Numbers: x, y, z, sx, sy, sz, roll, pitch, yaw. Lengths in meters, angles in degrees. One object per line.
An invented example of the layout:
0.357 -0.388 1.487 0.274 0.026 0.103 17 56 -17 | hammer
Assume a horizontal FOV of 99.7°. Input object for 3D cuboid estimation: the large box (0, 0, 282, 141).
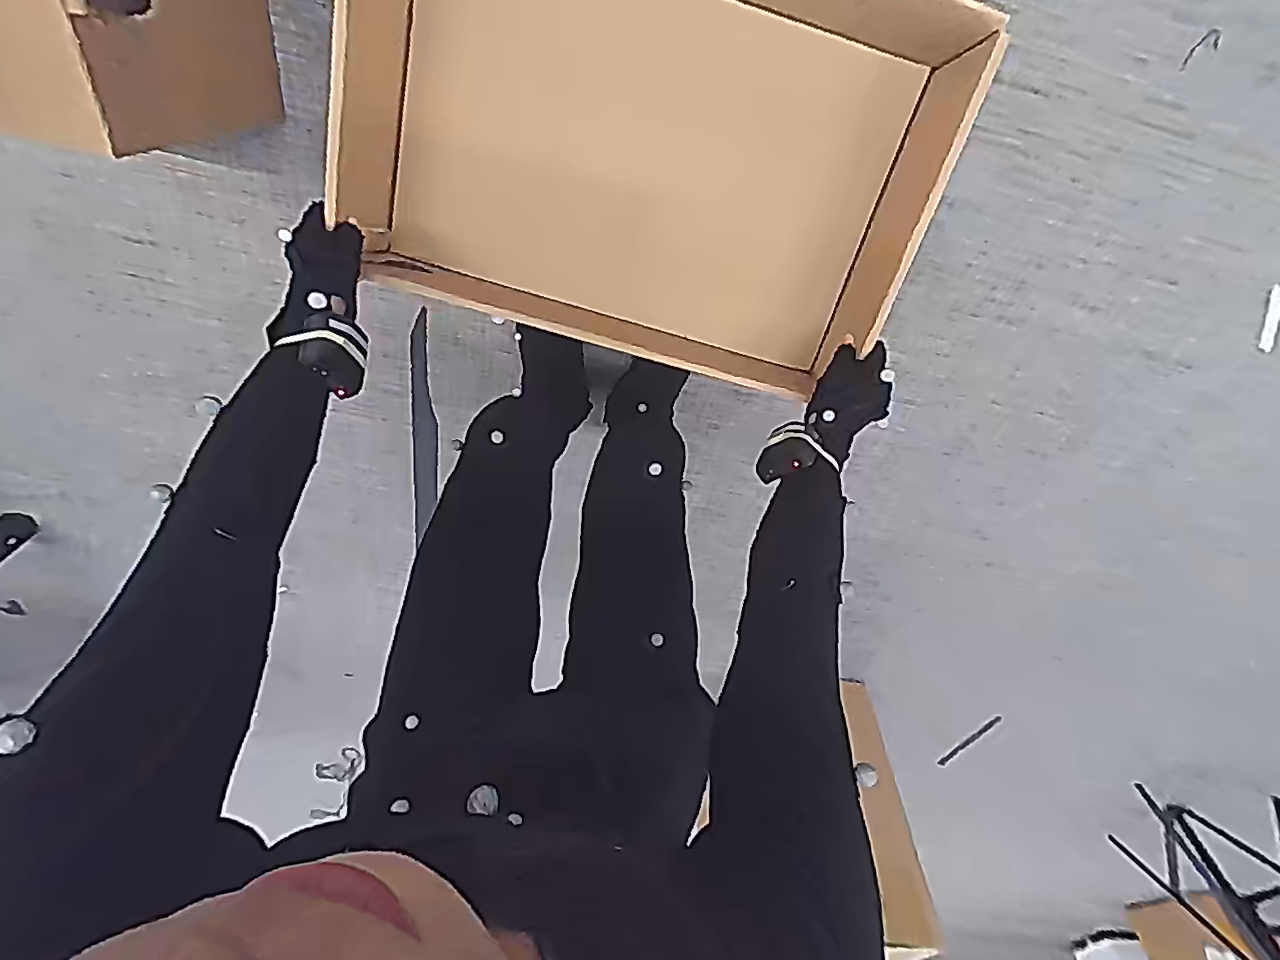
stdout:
-0.654 -0.561 0.513 0.408 0.320 0.320 9 130 -7 | large box
